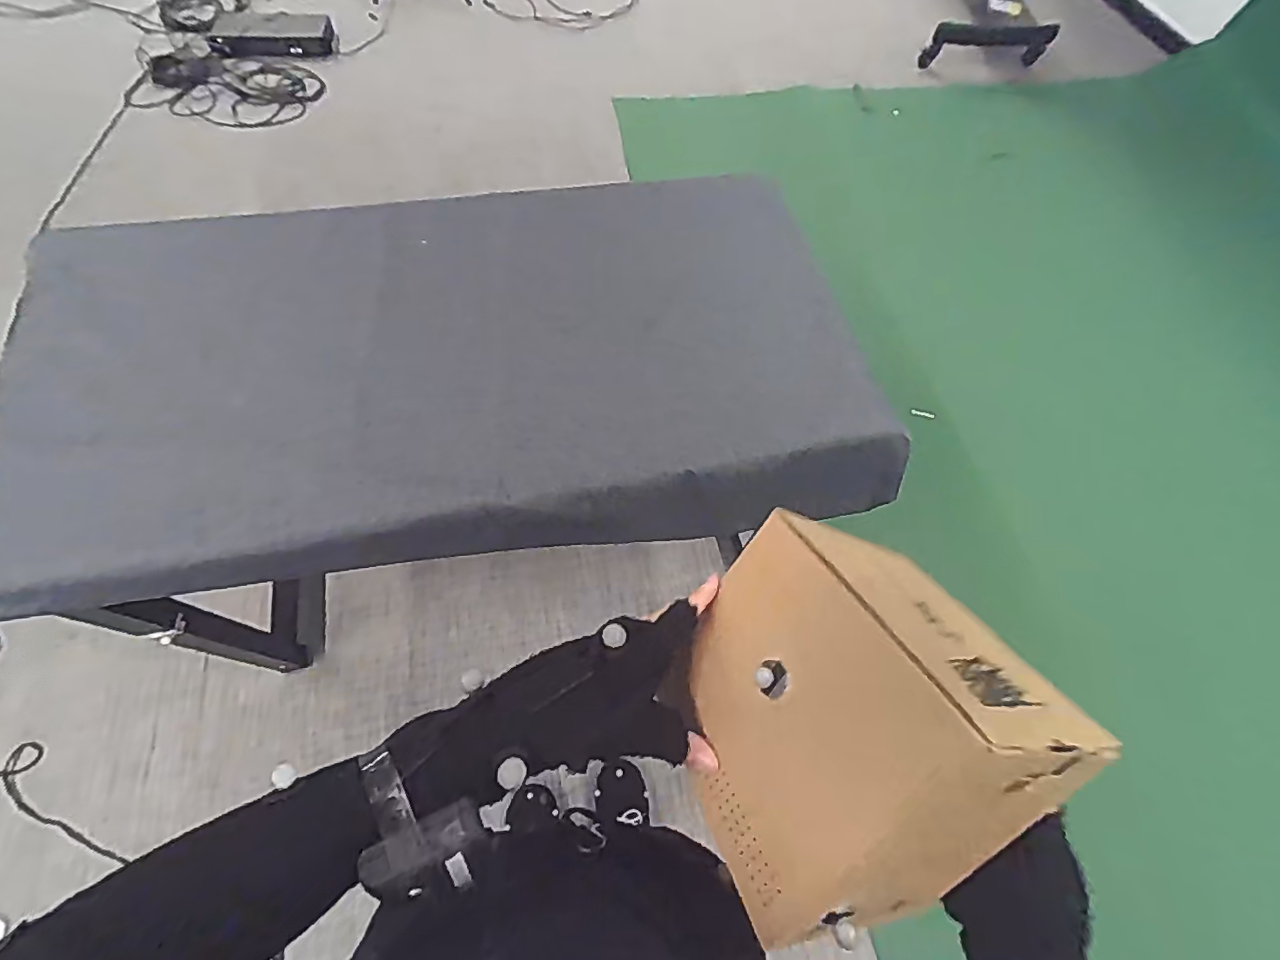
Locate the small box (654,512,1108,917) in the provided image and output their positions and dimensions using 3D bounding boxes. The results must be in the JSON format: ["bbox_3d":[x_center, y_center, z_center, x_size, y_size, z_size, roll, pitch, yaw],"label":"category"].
[{"bbox_3d":[0.137,0.154,0.362,0.168,0.176,0.179,19,25,-32],"label":"small box"}]
